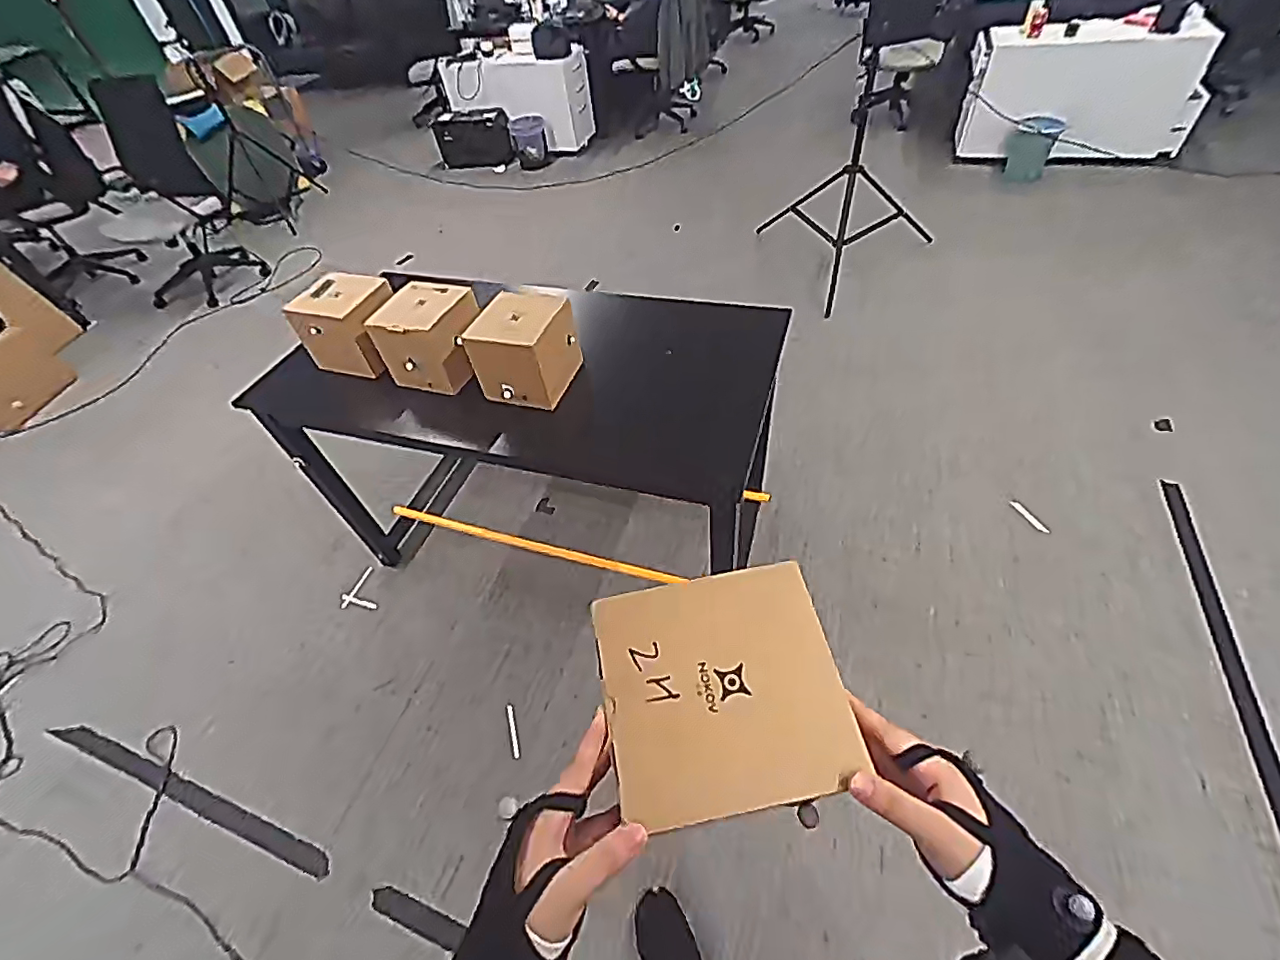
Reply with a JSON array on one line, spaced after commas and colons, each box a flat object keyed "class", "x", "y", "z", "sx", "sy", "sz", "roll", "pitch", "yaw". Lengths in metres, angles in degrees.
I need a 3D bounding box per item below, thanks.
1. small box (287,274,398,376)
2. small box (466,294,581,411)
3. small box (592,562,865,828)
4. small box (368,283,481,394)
[{"class": "small box", "x": -0.678, "y": -0.369, "z": 1.291, "sx": 0.179, "sy": 0.176, "sz": 0.168, "roll": 12, "pitch": 52, "yaw": 16}, {"class": "small box", "x": -0.236, "y": -0.274, "z": 1.159, "sx": 0.168, "sy": 0.176, "sz": 0.179, "roll": 10, "pitch": 52, "yaw": 17}, {"class": "small box", "x": 0.061, "y": 0.191, "z": 0.475, "sx": 0.179, "sy": 0.176, "sz": 0.168, "roll": -10, "pitch": 58, "yaw": -3}, {"class": "small box", "x": -0.462, "y": -0.318, "z": 1.222, "sx": 0.168, "sy": 0.176, "sz": 0.179, "roll": 12, "pitch": 52, "yaw": 15}]
